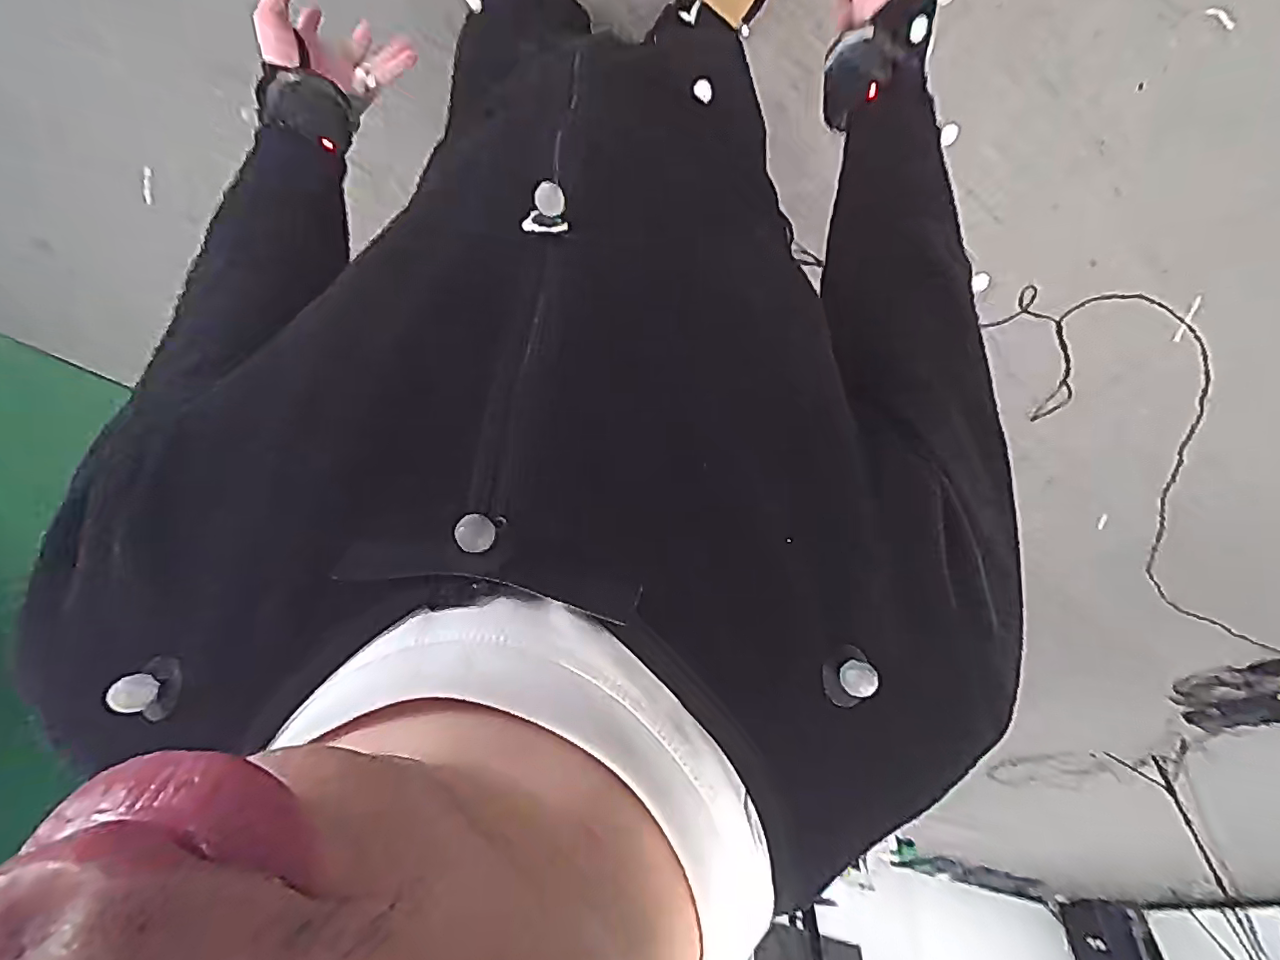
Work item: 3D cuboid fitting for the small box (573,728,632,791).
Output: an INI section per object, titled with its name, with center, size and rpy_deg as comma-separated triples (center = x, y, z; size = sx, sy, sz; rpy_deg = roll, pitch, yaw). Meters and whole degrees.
[small box]
center = -0.140, 1.063, 2.054
size = 0.168, 0.176, 0.179
rpy_deg = 23, 134, -19
